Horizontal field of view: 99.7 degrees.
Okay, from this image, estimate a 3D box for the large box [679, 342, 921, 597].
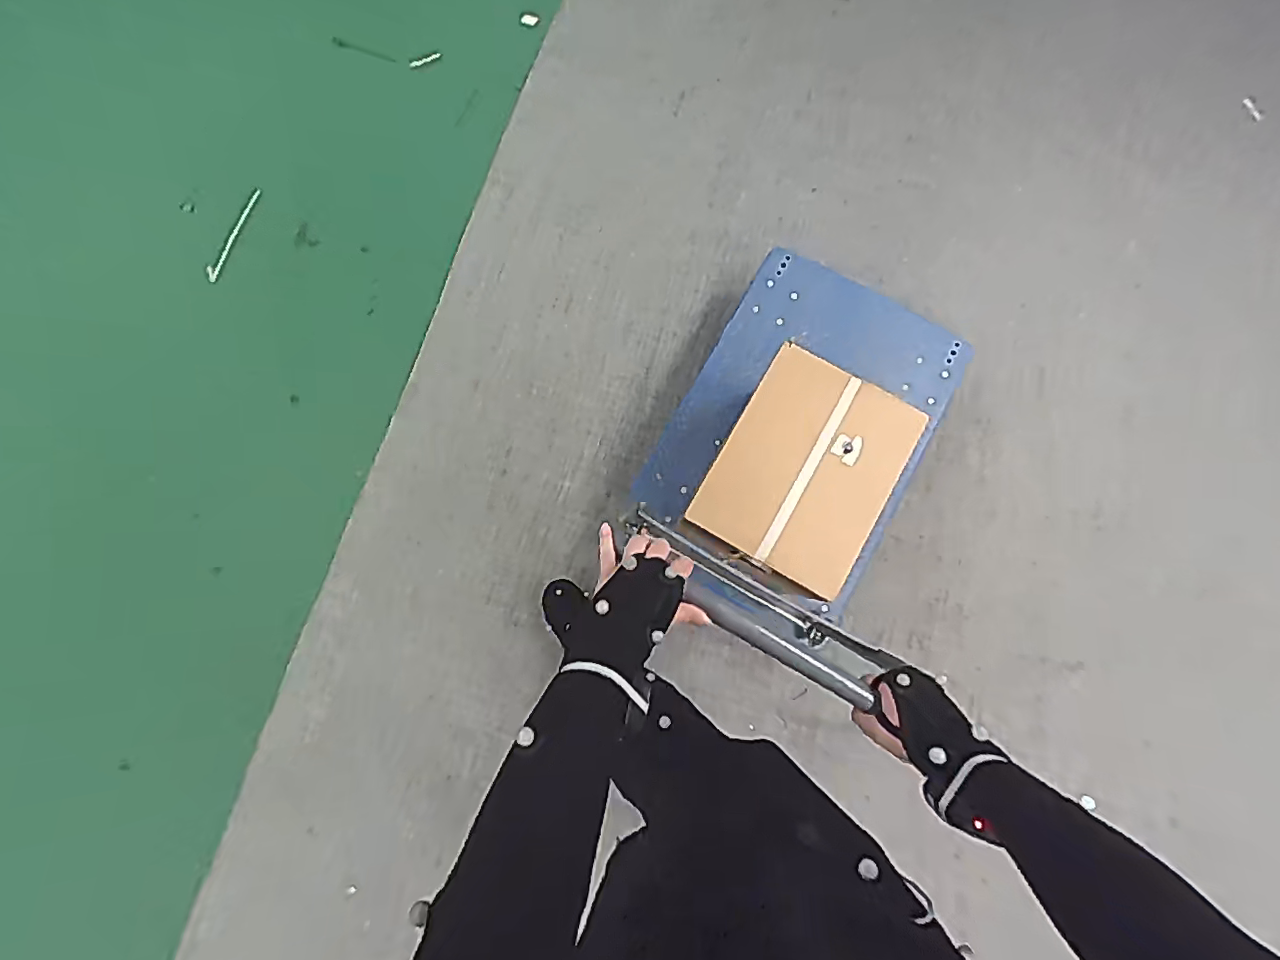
[{"bbox_3d":[0.311,-0.002,1.160,0.320,0.320,0.408,30,82,5],"label":"large box"}]
